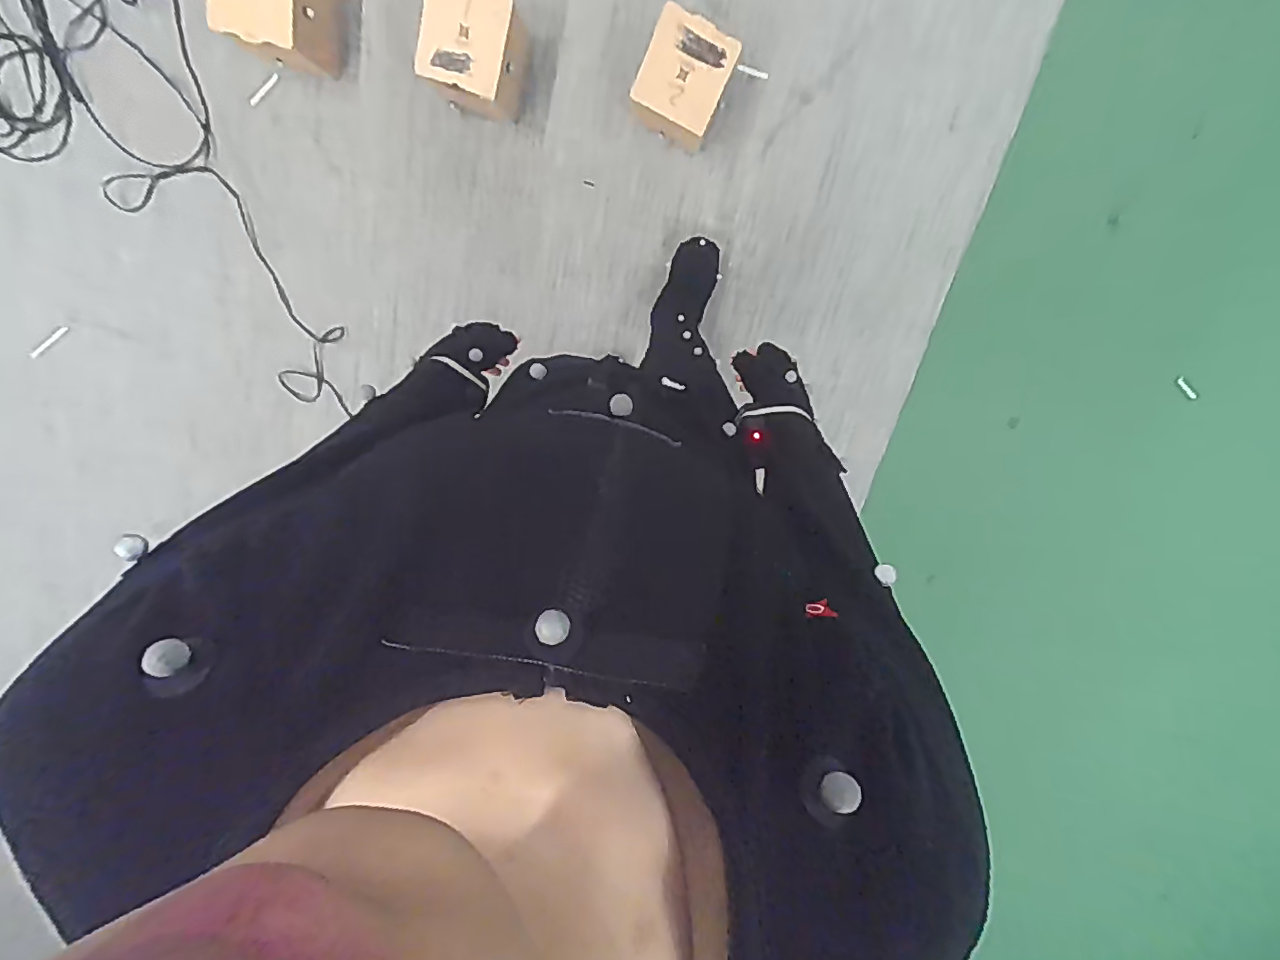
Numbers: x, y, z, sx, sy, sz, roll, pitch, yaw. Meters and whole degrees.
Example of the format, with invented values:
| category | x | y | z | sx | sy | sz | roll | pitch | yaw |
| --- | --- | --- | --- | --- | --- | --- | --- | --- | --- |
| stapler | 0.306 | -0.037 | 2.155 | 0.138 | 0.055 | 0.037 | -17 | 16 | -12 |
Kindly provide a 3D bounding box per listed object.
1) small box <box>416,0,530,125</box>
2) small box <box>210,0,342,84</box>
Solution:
| category | x | y | z | sx | sy | sz | roll | pitch | yaw |
| --- | --- | --- | --- | --- | --- | --- | --- | --- | --- |
| small box | -0.339 | -0.874 | 1.123 | 0.168 | 0.176 | 0.179 | 17 | 108 | -4 |
| small box | -0.734 | -0.957 | 1.104 | 0.168 | 0.176 | 0.179 | 12 | 109 | -3 |
